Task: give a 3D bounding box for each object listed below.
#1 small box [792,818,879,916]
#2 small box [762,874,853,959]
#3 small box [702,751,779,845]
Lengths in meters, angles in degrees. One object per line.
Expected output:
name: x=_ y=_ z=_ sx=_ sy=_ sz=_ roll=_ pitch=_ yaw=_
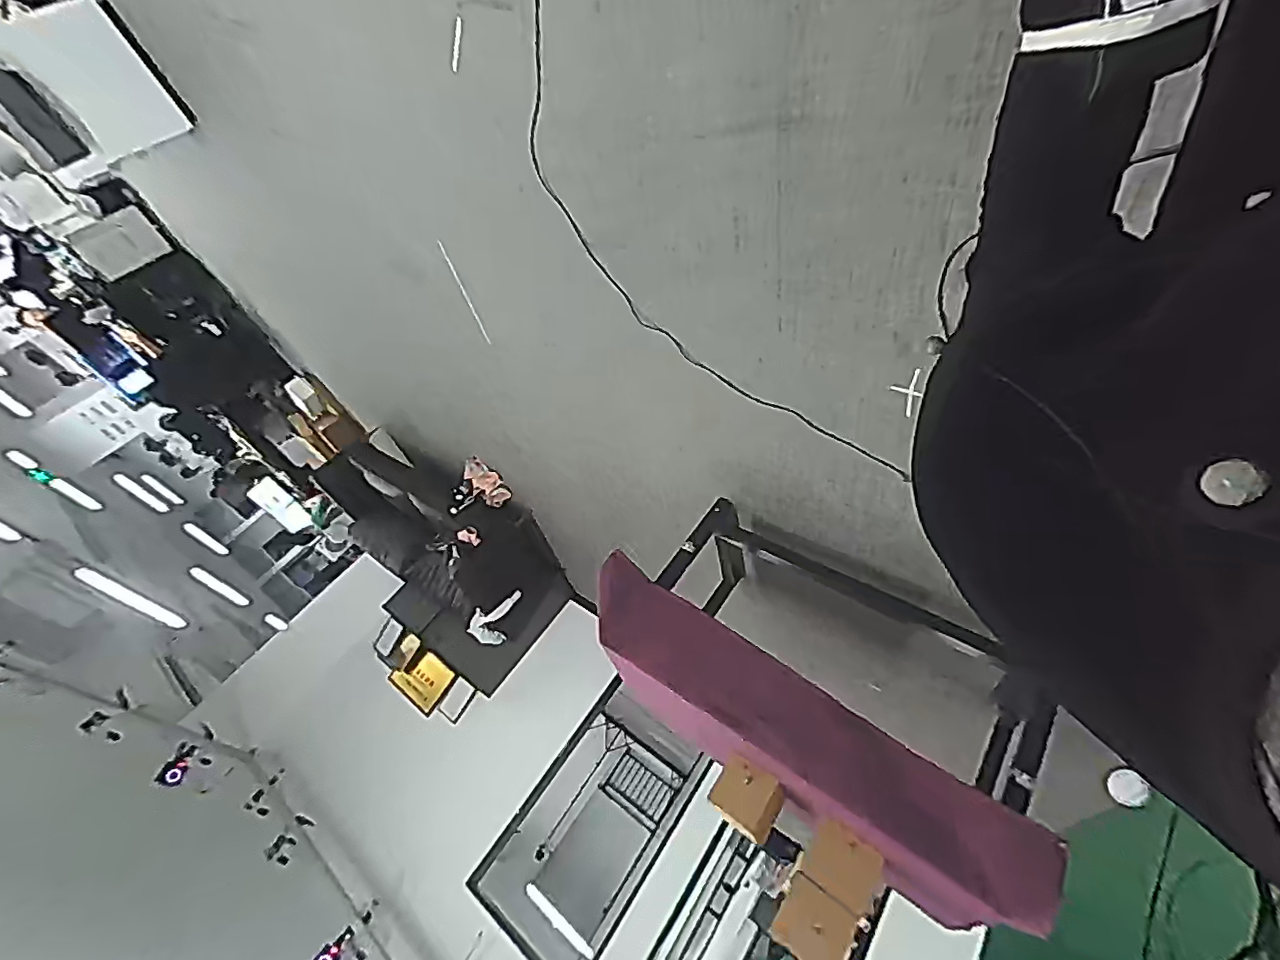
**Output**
small box: x=0.551 y=1.092 z=1.532 sx=0.179 sy=0.176 sz=0.168 roll=24 pitch=150 yaw=34
small box: x=0.451 y=1.203 z=1.461 sx=0.179 sy=0.176 sz=0.168 roll=23 pitch=148 yaw=33
small box: x=0.322 y=0.992 z=1.696 sx=0.168 sy=0.176 sz=0.179 roll=19 pitch=146 yaw=38
